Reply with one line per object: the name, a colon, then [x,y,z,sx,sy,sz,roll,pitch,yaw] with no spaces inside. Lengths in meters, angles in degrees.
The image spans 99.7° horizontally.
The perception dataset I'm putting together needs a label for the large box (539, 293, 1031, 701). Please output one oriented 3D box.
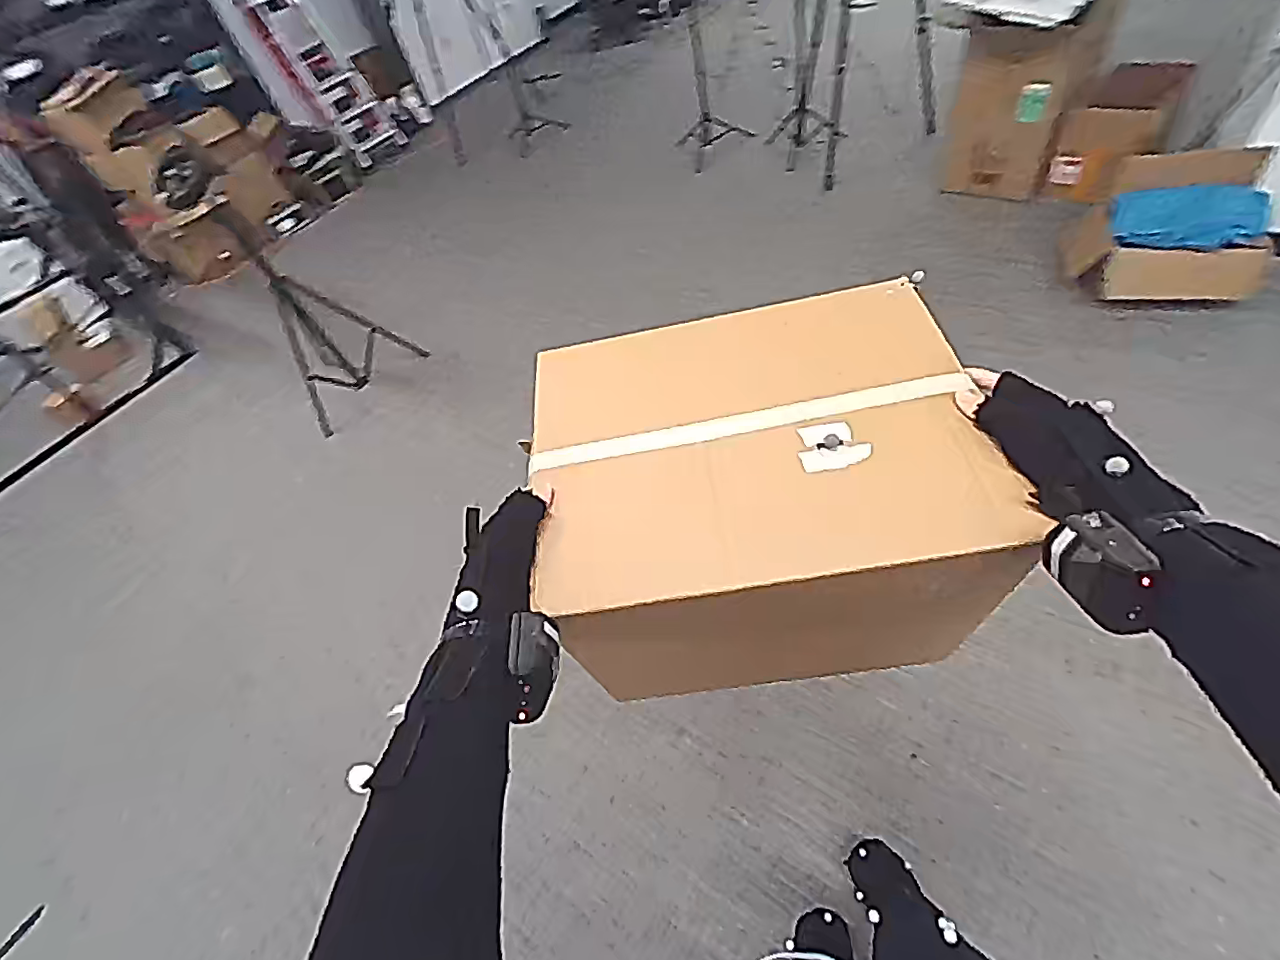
large box: [0.119,0.039,0.638,0.408,0.320,0.320,-11,55,4]
